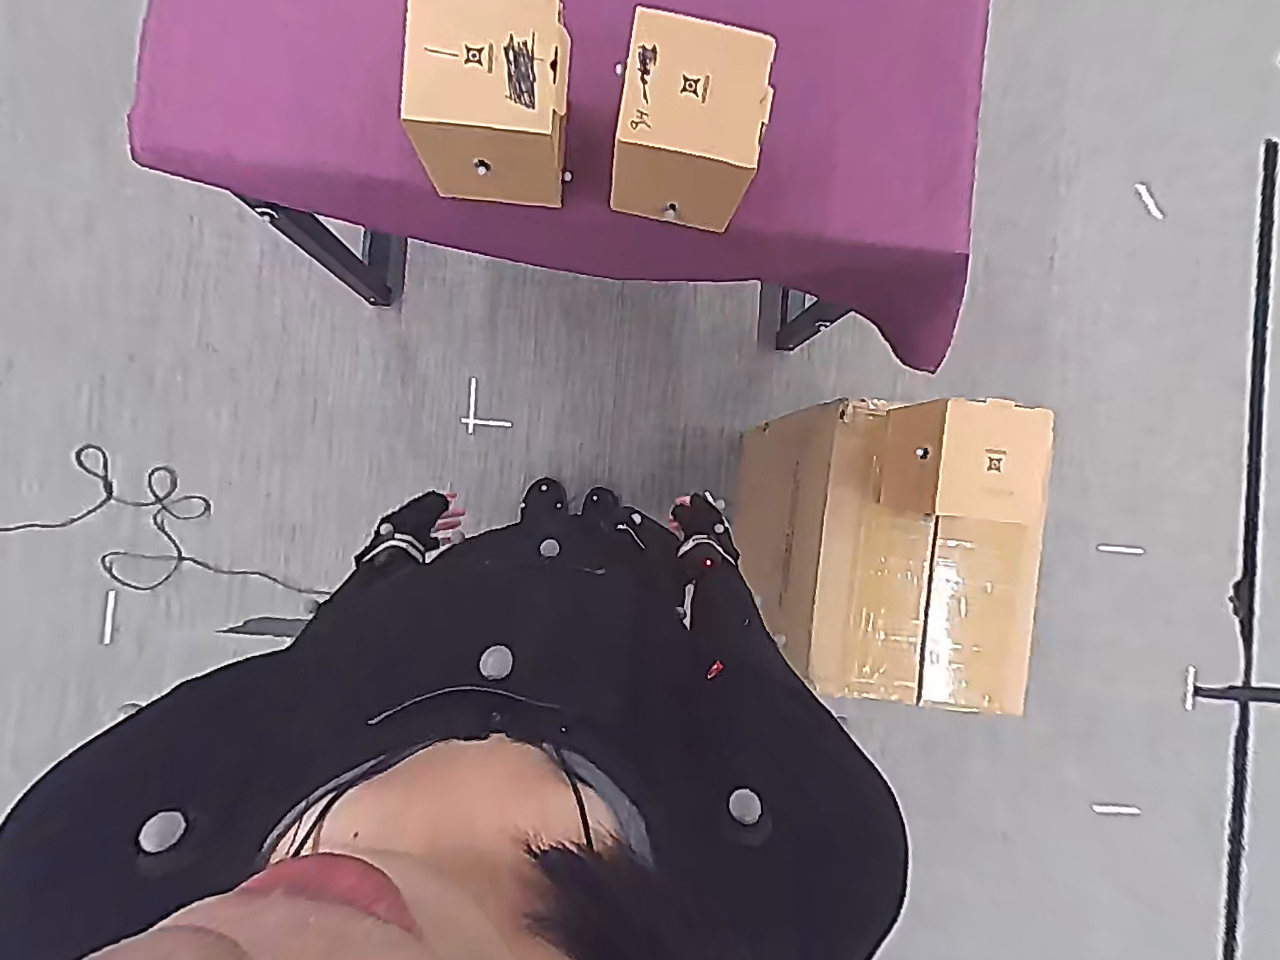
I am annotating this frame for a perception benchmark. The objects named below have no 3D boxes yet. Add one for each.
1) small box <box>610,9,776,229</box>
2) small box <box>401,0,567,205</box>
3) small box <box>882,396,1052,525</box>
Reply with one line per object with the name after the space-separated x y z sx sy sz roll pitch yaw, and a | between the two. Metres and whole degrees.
0.060 -0.467 0.730 0.179 0.176 0.168 9 88 -6 | small box
-0.189 -0.485 0.706 0.179 0.176 0.168 4 88 -4 | small box
0.512 -0.029 0.870 0.168 0.176 0.179 6 90 -3 | small box
